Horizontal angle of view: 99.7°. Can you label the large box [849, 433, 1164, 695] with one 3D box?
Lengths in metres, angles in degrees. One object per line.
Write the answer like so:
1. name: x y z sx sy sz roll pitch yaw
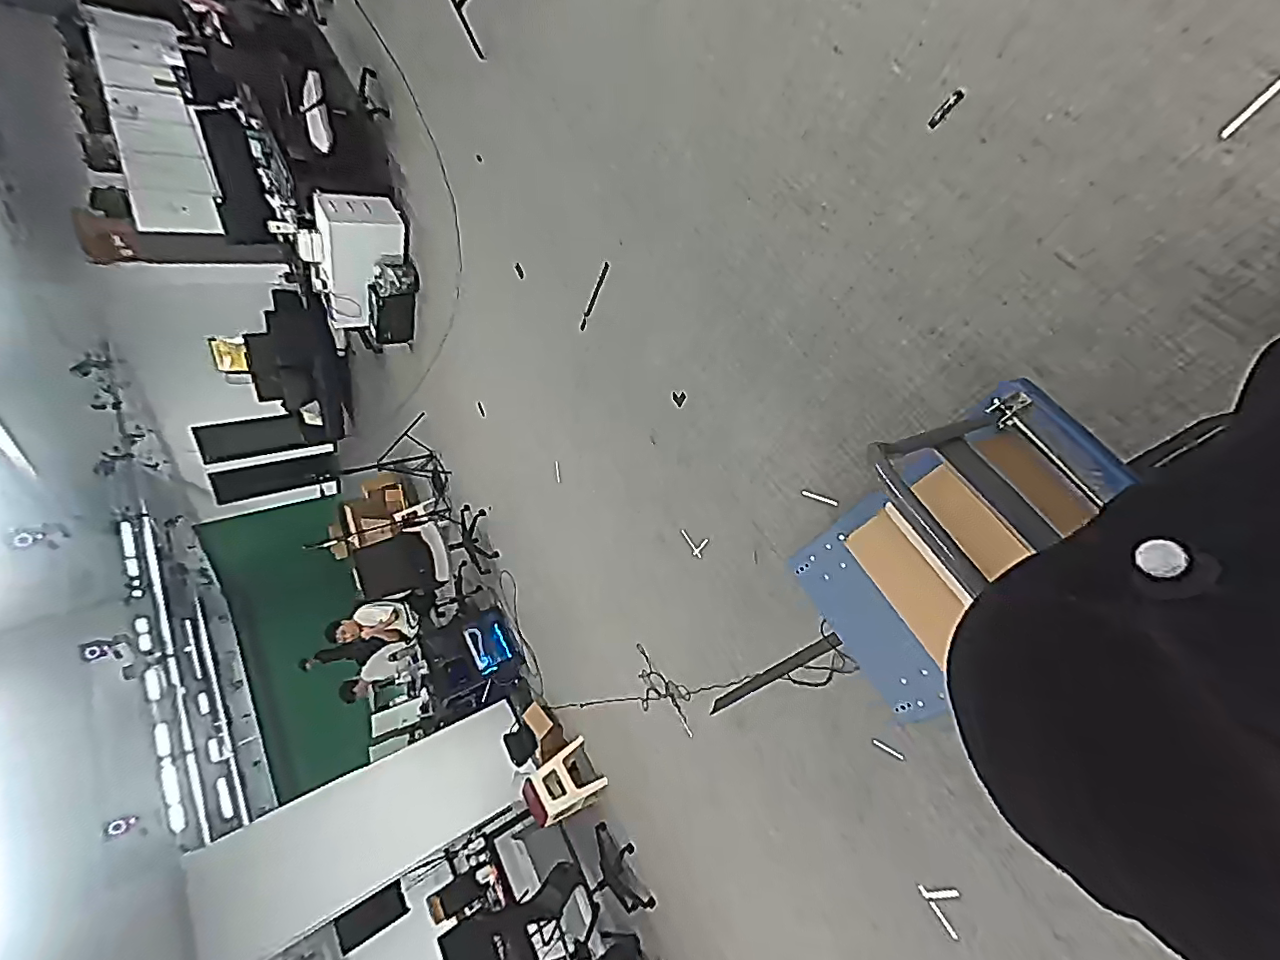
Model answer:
1. large box: 0.751 0.165 1.145 0.408 0.320 0.320 58 142 22
